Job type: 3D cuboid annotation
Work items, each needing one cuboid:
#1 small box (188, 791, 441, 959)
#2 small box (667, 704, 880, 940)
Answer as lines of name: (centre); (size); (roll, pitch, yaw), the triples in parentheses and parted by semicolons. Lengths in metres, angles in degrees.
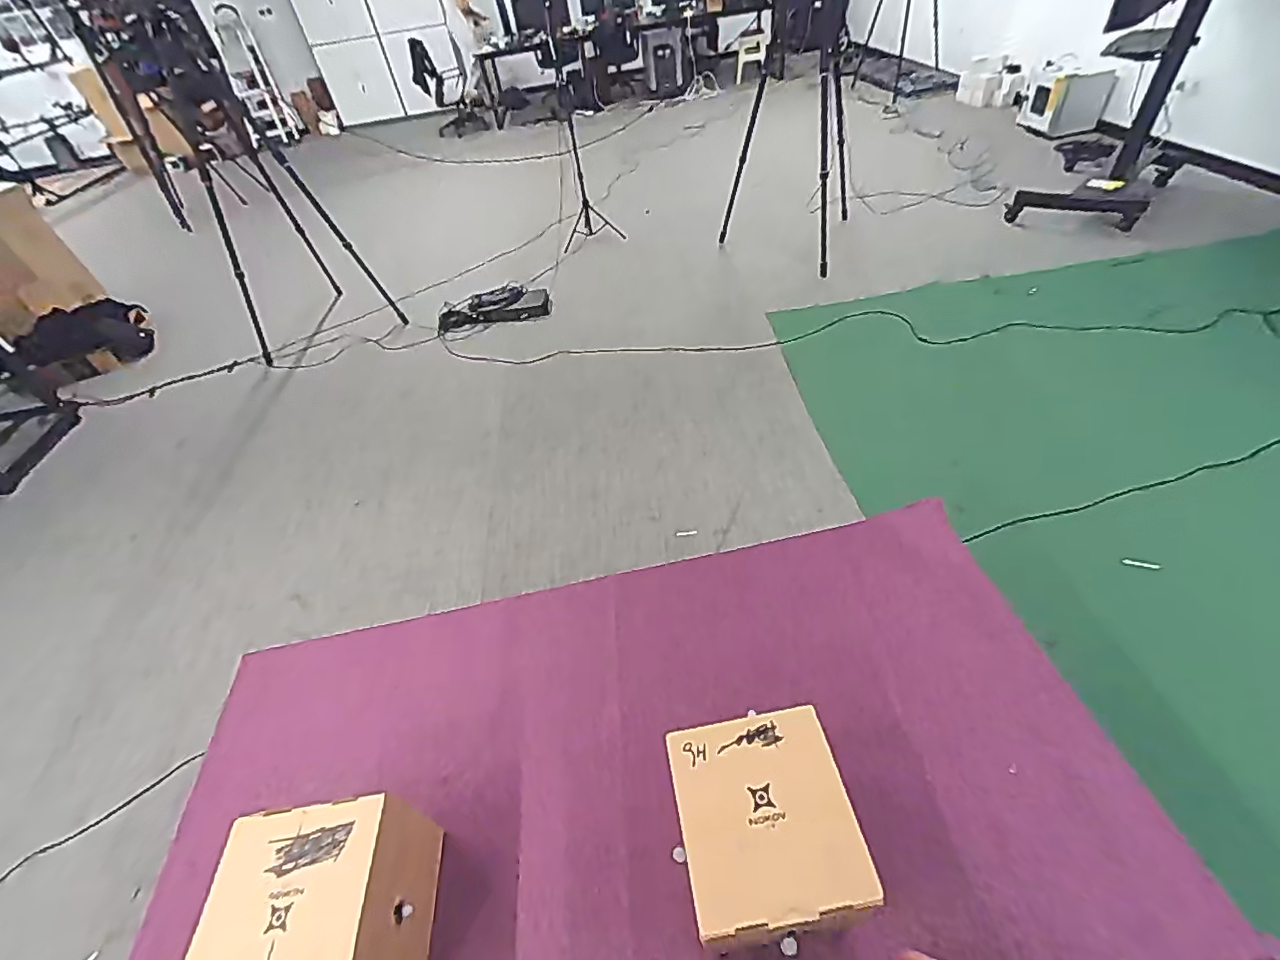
small box: (-0.329, 0.461, 0.577); (0.168, 0.176, 0.179); (-10, 46, 0)
small box: (0.130, 0.372, 0.584); (0.168, 0.176, 0.179); (-11, 46, -1)
